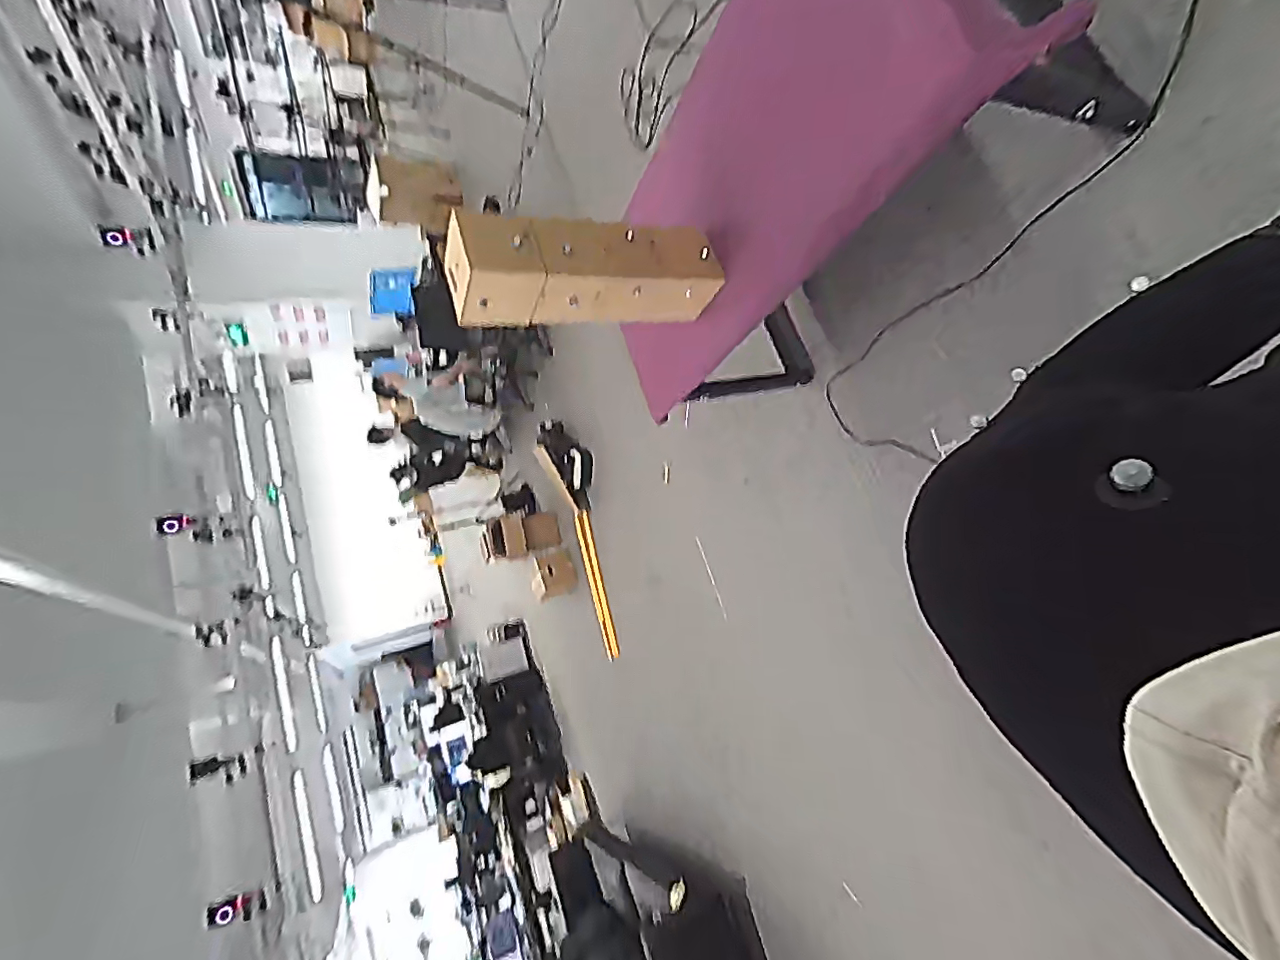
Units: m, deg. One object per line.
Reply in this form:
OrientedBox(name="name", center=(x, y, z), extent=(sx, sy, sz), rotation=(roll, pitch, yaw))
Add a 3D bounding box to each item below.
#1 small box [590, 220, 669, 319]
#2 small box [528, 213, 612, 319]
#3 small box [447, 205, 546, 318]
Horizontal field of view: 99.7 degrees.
OrientedBox(name="small box", center=(-0.042, -0.530, 1.375), extent=(0.179, 0.176, 0.168), rotation=(-41, 64, 58))
OrientedBox(name="small box", center=(-0.184, -0.510, 1.298), extent=(0.168, 0.176, 0.179), rotation=(-42, 63, 56))
OrientedBox(name="small box", center=(-0.325, -0.481, 1.216), extent=(0.179, 0.176, 0.168), rotation=(-42, 62, 56))
